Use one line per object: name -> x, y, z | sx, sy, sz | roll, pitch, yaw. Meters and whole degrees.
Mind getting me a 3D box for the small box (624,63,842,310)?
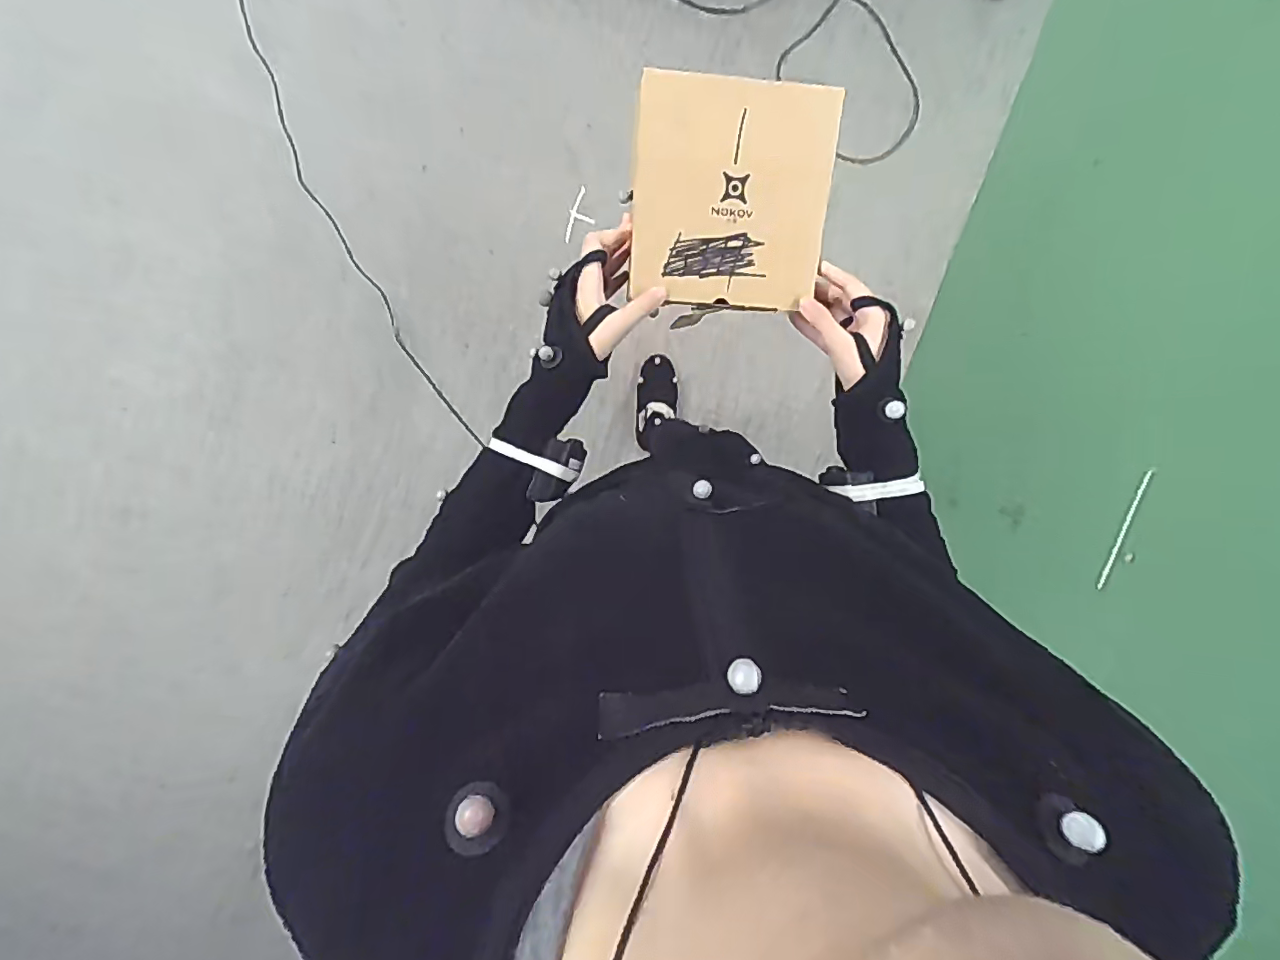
small box -> 0.072, -0.263, 0.529 | 0.168, 0.176, 0.179 | 3, 107, -5
